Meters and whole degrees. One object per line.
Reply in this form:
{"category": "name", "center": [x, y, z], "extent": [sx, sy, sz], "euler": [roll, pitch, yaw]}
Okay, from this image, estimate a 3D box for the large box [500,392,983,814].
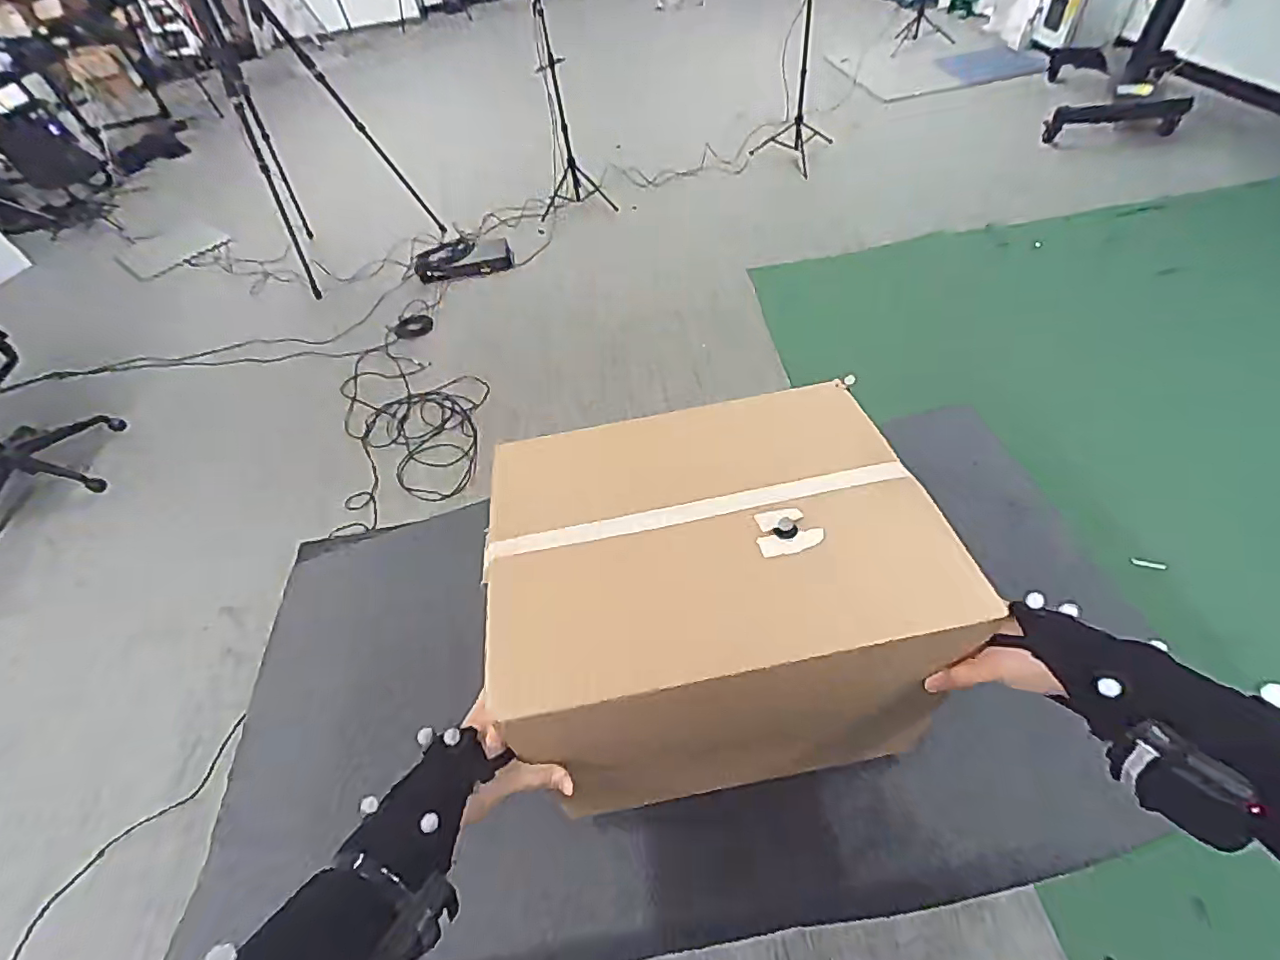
{"category": "large box", "center": [0.075, 0.144, 0.634], "extent": [0.408, 0.320, 0.320], "euler": [-11, 47, -2]}
